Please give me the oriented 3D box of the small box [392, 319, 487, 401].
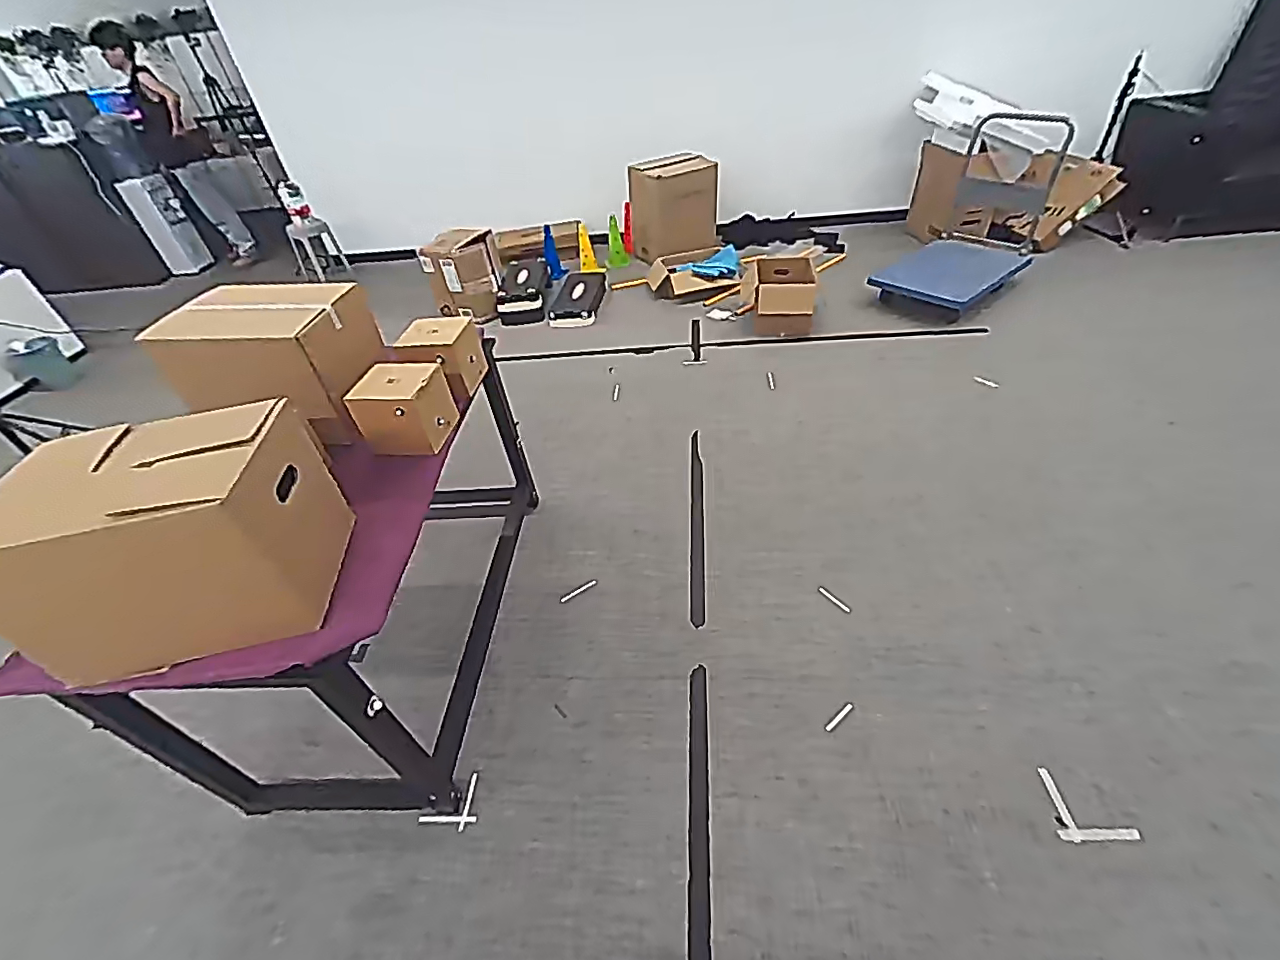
[{"bbox_3d":[-0.556,-0.338,1.531,0.179,0.176,0.168,-1,41,9],"label":"small box"}]
